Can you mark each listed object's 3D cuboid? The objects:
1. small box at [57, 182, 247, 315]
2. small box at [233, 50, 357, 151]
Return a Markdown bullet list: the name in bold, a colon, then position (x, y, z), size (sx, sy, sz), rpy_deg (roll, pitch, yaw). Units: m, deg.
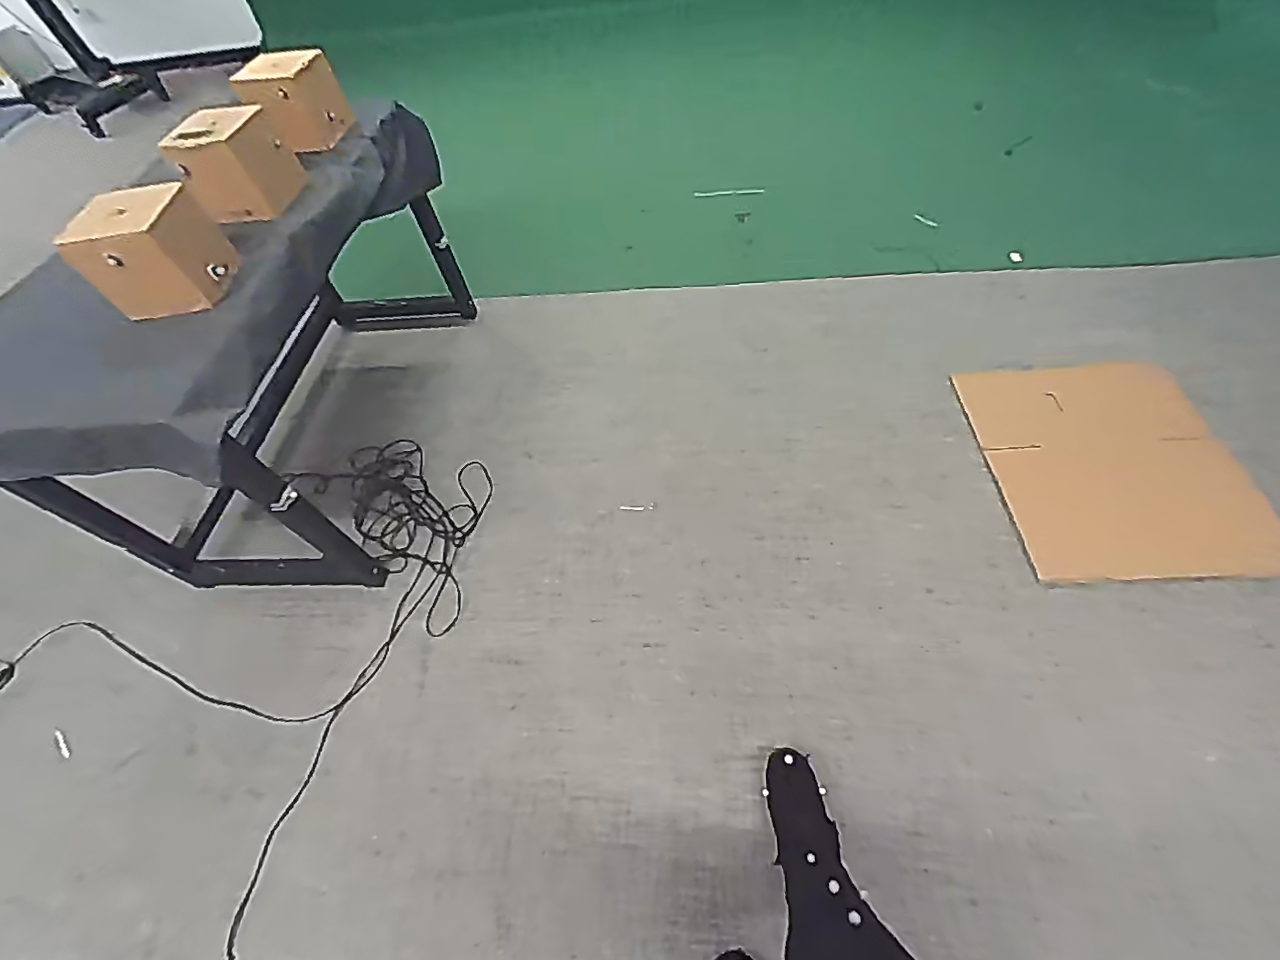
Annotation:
- **small box**: position (-0.914, -0.435, 1.034), size (0.179, 0.176, 0.168), rpy_deg (-7, 56, 2)
- **small box**: position (-0.880, -0.974, 1.398), size (0.179, 0.176, 0.168), rpy_deg (3, 57, 9)
